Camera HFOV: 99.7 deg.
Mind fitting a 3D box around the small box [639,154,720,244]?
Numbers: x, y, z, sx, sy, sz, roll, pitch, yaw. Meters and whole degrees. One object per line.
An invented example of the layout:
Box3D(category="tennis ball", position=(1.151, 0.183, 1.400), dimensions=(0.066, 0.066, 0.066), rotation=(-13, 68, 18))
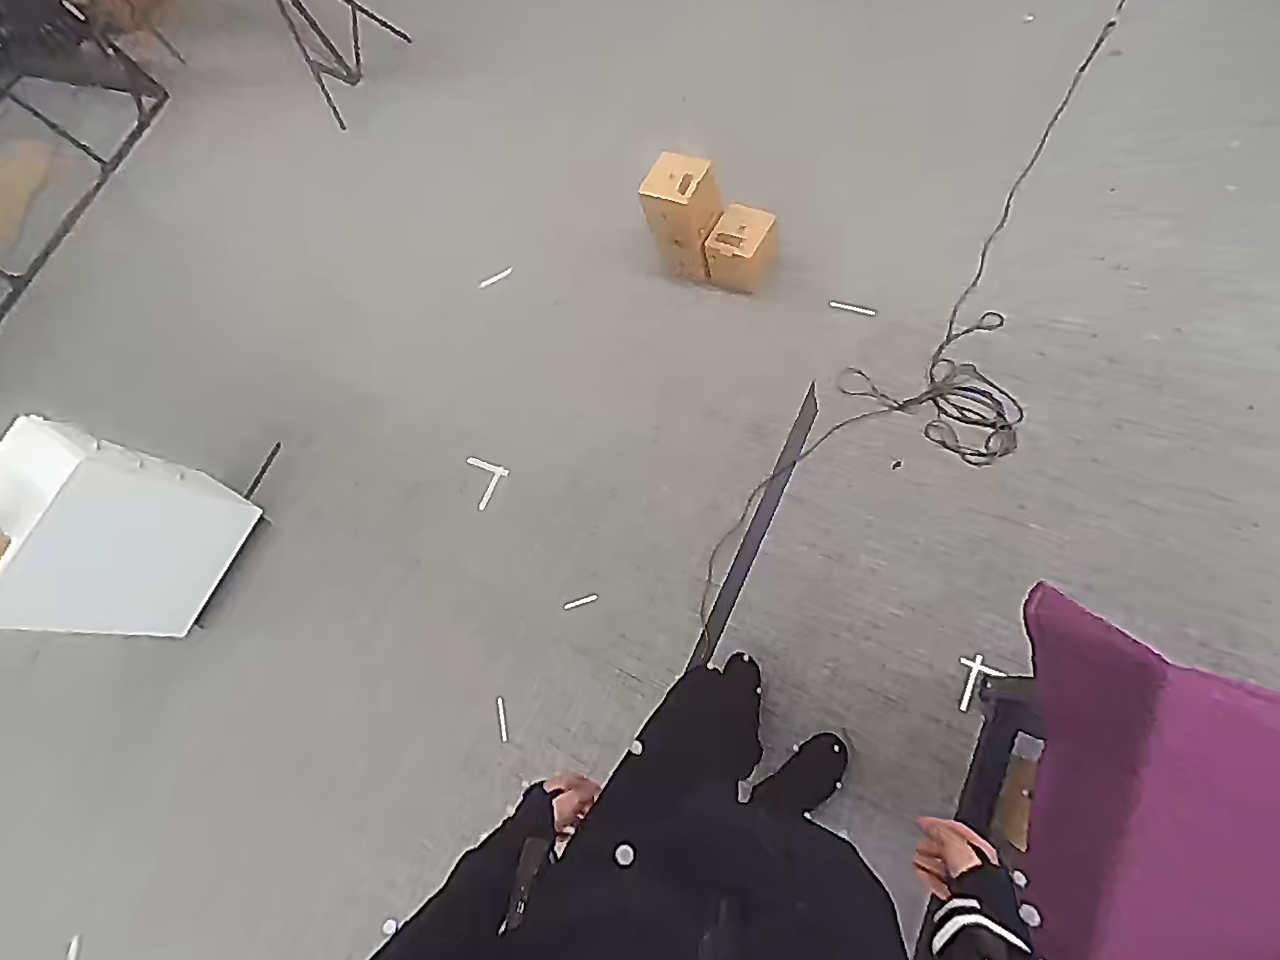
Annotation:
Box3D(category="small box", position=(0.129, -0.857, 1.661), dimensions=(0.179, 0.176, 0.168), rotation=(27, 80, 24))

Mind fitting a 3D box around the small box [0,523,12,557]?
Box3D(category="small box", position=(-1.820, 0.169, 1.406), dimensions=(0.179, 0.176, 0.168), rotation=(24, 80, 23))
